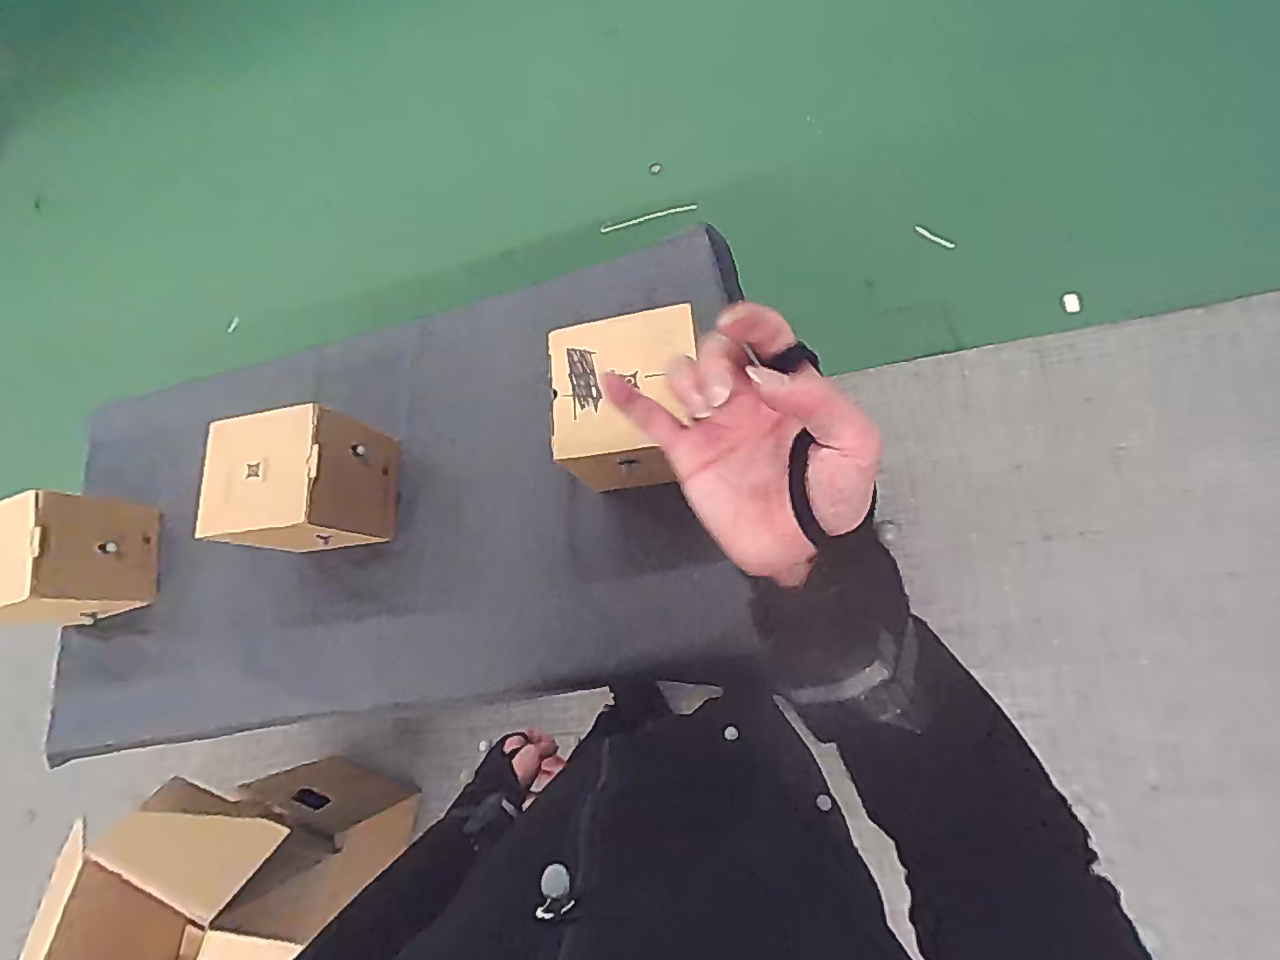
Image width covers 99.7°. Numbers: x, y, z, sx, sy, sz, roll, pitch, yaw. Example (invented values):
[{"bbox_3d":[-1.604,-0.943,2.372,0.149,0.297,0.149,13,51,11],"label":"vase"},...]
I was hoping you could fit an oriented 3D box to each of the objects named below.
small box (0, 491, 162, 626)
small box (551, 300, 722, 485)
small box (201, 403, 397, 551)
[{"bbox_3d":[-0.917,0.131,0.864,0.179,0.176,0.168,-16,73,9],"label":"small box"},{"bbox_3d":[0.001,-0.096,0.683,0.179,0.176,0.168,-8,75,12],"label":"small box"},{"bbox_3d":[-0.479,0.006,0.786,0.179,0.176,0.168,-9,73,13],"label":"small box"}]
